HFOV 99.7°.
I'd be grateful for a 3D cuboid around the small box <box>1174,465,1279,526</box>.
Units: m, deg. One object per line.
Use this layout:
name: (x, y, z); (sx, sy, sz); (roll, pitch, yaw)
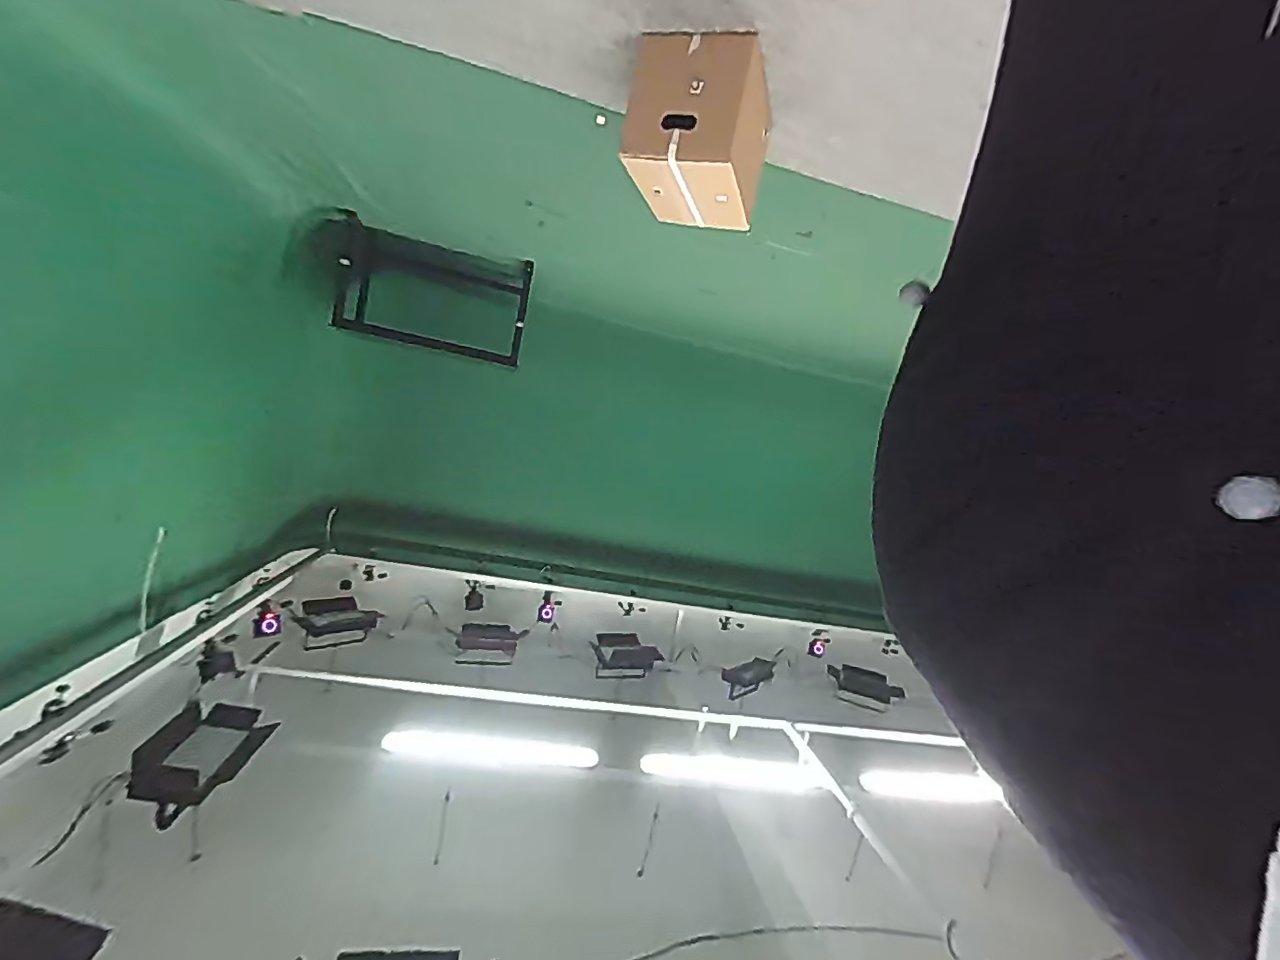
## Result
small box: (2.007, 0.046, 1.848); (0.168, 0.176, 0.179); (11, -176, -12)
